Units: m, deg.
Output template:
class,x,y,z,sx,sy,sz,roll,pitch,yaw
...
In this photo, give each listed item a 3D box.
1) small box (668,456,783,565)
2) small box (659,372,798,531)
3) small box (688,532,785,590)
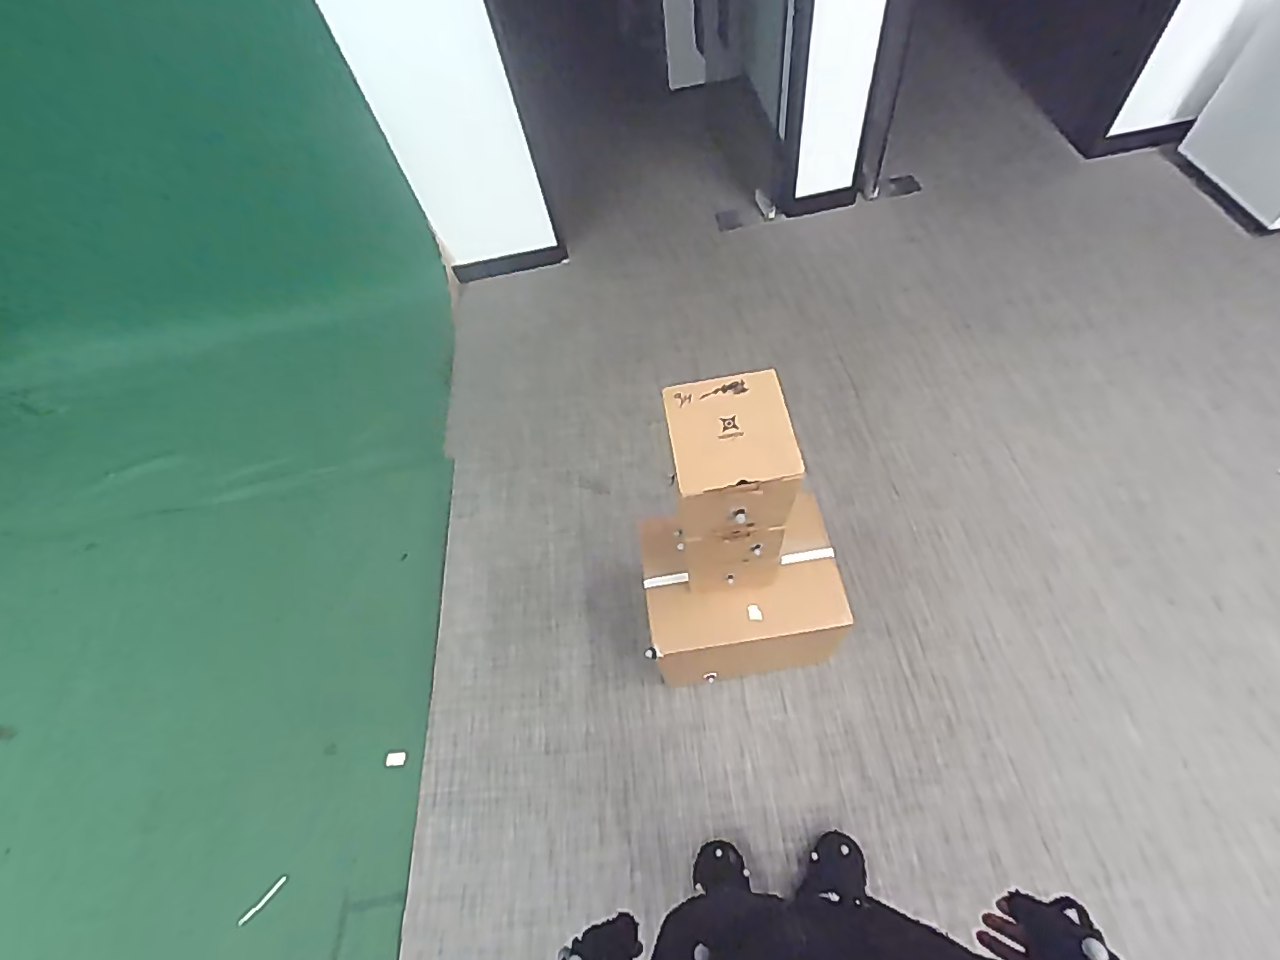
class,x,y,z,sx,sy,sz,roll,pitch,yaw
small box,0.148,0.043,0.959,0.168,0.176,0.179,-9,62,3
small box,0.128,-0.032,0.815,0.168,0.176,0.179,-10,65,3
small box,0.180,0.116,1.100,0.179,0.176,0.168,-10,64,3
